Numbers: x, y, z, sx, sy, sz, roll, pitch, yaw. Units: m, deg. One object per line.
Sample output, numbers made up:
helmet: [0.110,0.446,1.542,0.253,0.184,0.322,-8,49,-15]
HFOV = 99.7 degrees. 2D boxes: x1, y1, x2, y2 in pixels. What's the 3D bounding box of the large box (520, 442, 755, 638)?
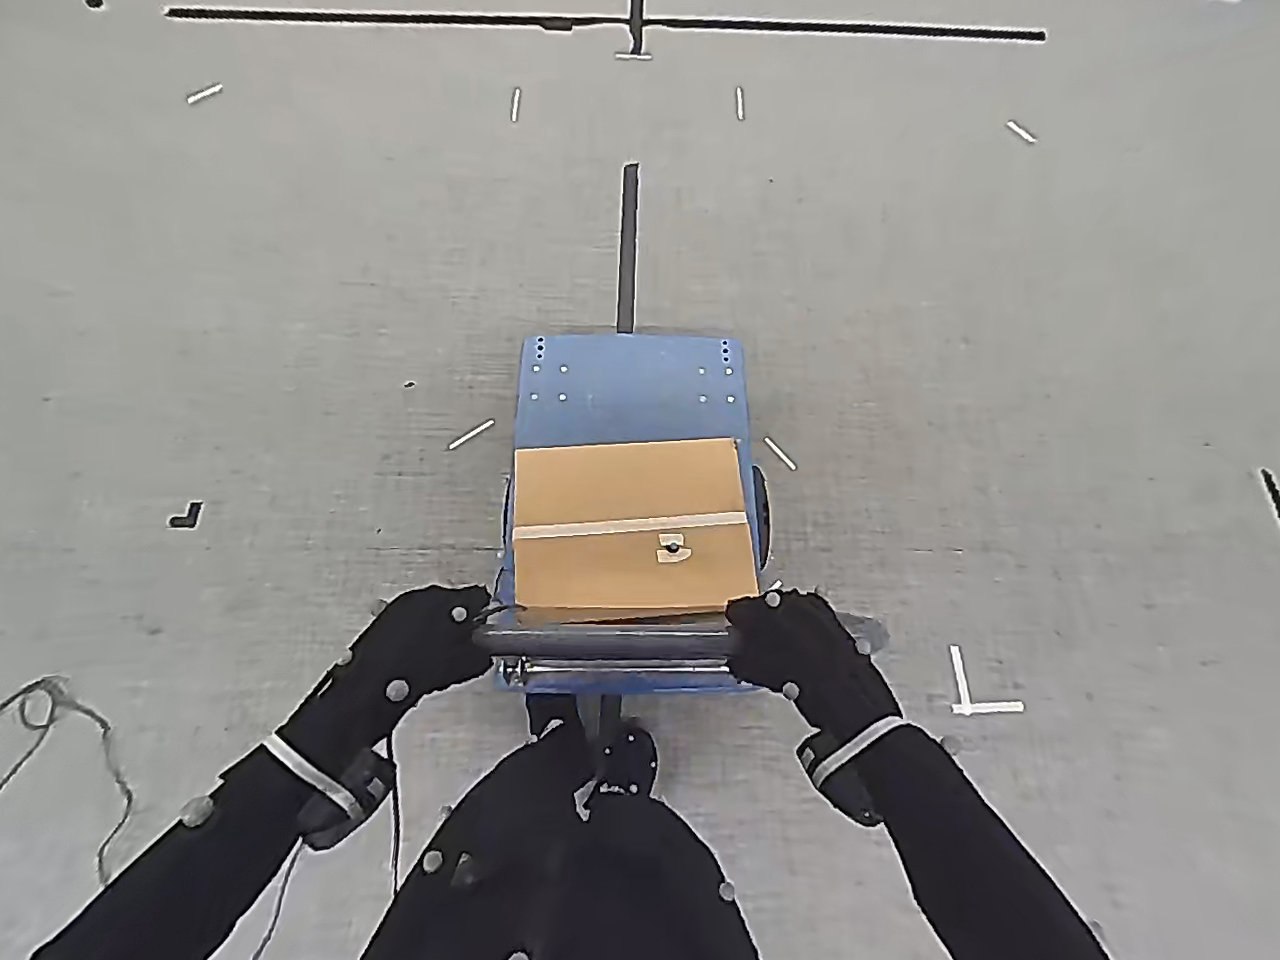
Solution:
large box: [-0.019,0.136,1.099,0.408,0.320,0.320,-3,71,-4]
